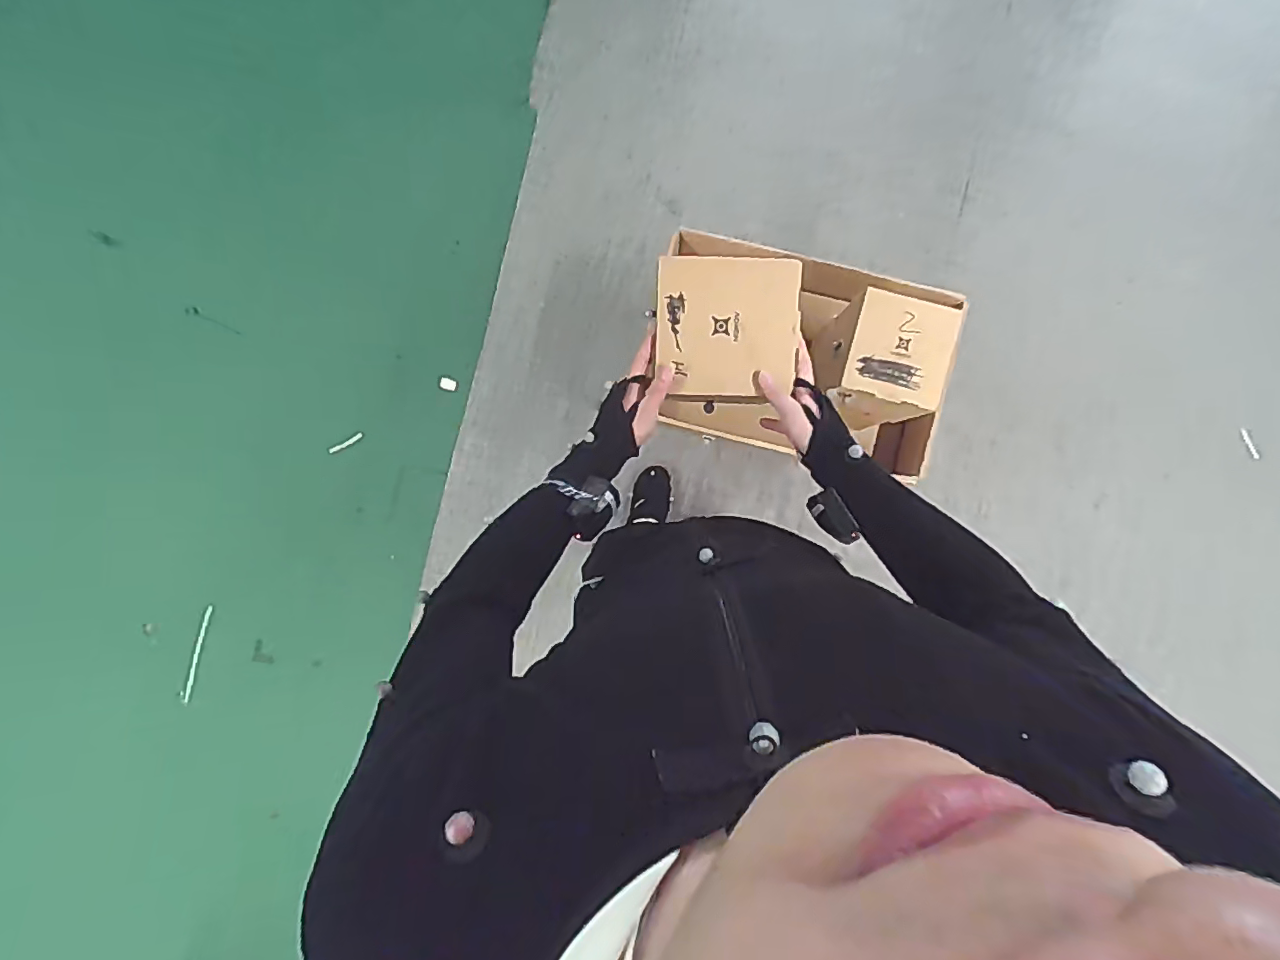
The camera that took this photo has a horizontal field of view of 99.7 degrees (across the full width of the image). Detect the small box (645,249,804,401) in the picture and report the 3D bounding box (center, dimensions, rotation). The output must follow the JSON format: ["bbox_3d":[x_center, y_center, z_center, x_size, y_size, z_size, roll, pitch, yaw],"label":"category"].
[{"bbox_3d":[0.102,-0.195,0.726,0.179,0.176,0.168,1,95,-3],"label":"small box"}]
